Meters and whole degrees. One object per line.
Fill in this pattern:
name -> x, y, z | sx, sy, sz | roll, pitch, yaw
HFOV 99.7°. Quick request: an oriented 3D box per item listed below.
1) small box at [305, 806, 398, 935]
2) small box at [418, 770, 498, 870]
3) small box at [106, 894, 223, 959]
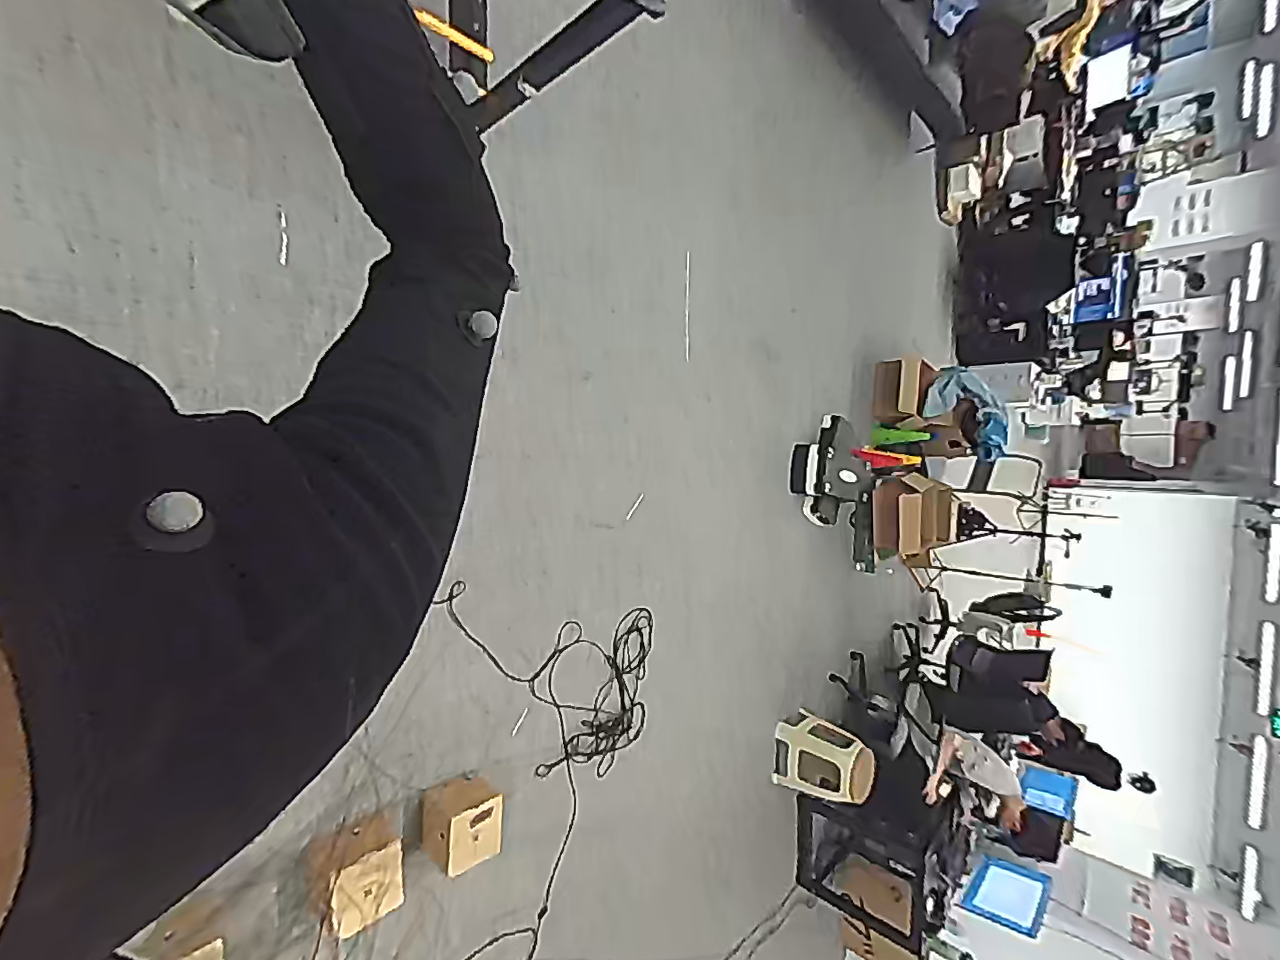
small box -> -0.739, 0.986, 1.384 | 0.168, 0.176, 0.179 | -5, 96, -47
small box -> -0.540, 0.987, 1.596 | 0.168, 0.176, 0.179 | 2, 92, -47
small box -> -0.983, 1.012, 1.121 | 0.168, 0.176, 0.179 | -7, 98, -46
